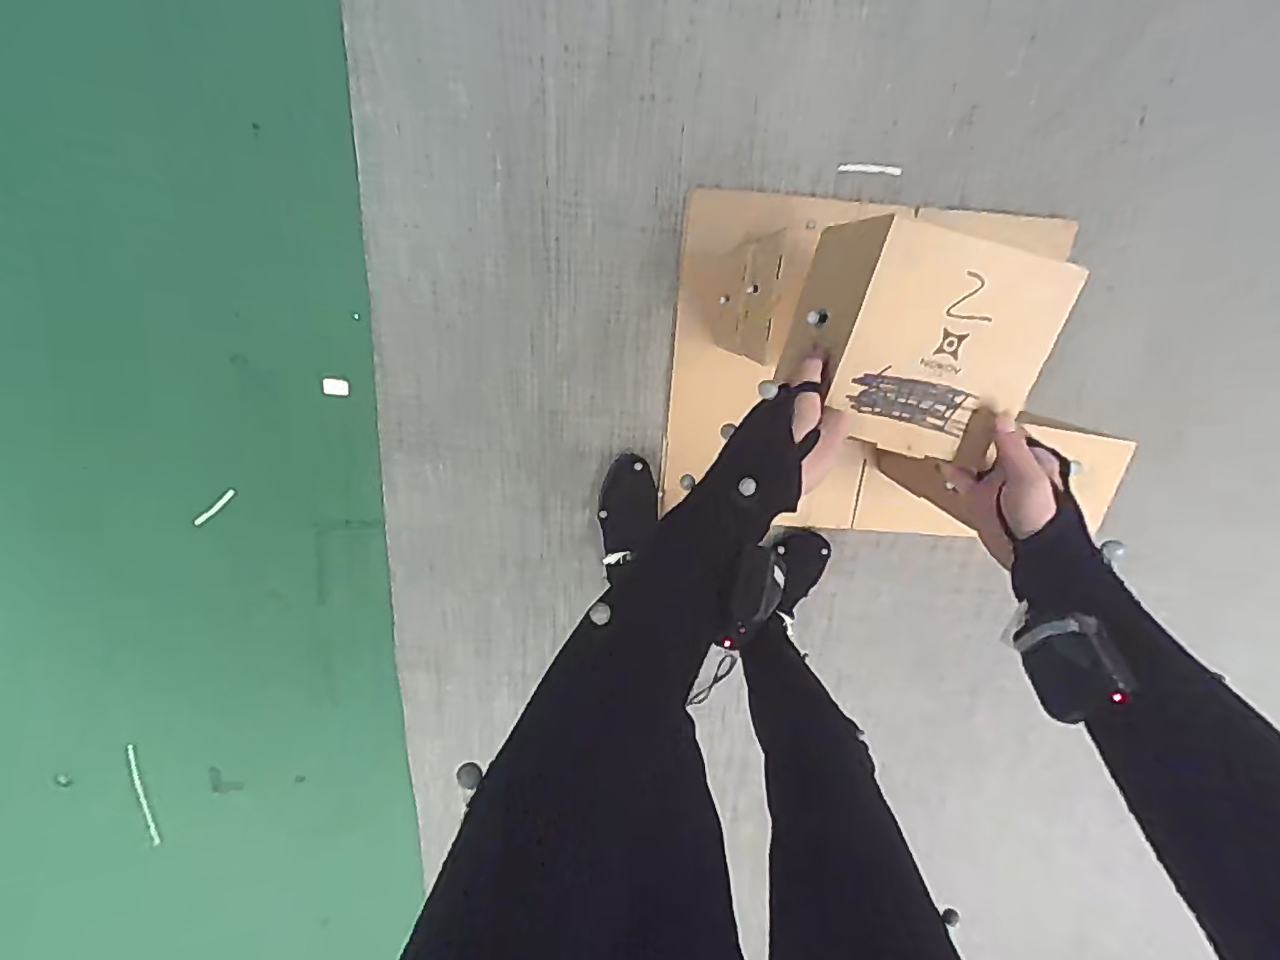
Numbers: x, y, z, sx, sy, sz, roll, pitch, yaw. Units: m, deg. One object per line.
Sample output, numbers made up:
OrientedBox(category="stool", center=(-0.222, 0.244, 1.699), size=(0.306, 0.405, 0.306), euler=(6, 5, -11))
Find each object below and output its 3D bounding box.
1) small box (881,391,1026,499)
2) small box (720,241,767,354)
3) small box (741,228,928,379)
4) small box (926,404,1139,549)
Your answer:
OrientedBox(category="small box", center=(0.575, -0.062, 0.983), size=(0.179, 0.176, 0.168), euler=(6, 108, -3))
OrientedBox(category="small box", center=(0.242, -0.293, 0.897), size=(0.179, 0.176, 0.168), euler=(5, 108, -3))
OrientedBox(category="small box", center=(0.251, -0.242, 0.744), size=(0.179, 0.176, 0.168), euler=(5, 109, -2))
OrientedBox(category="small box", center=(0.577, -0.015, 0.826), size=(0.179, 0.176, 0.168), euler=(9, 108, -4))
